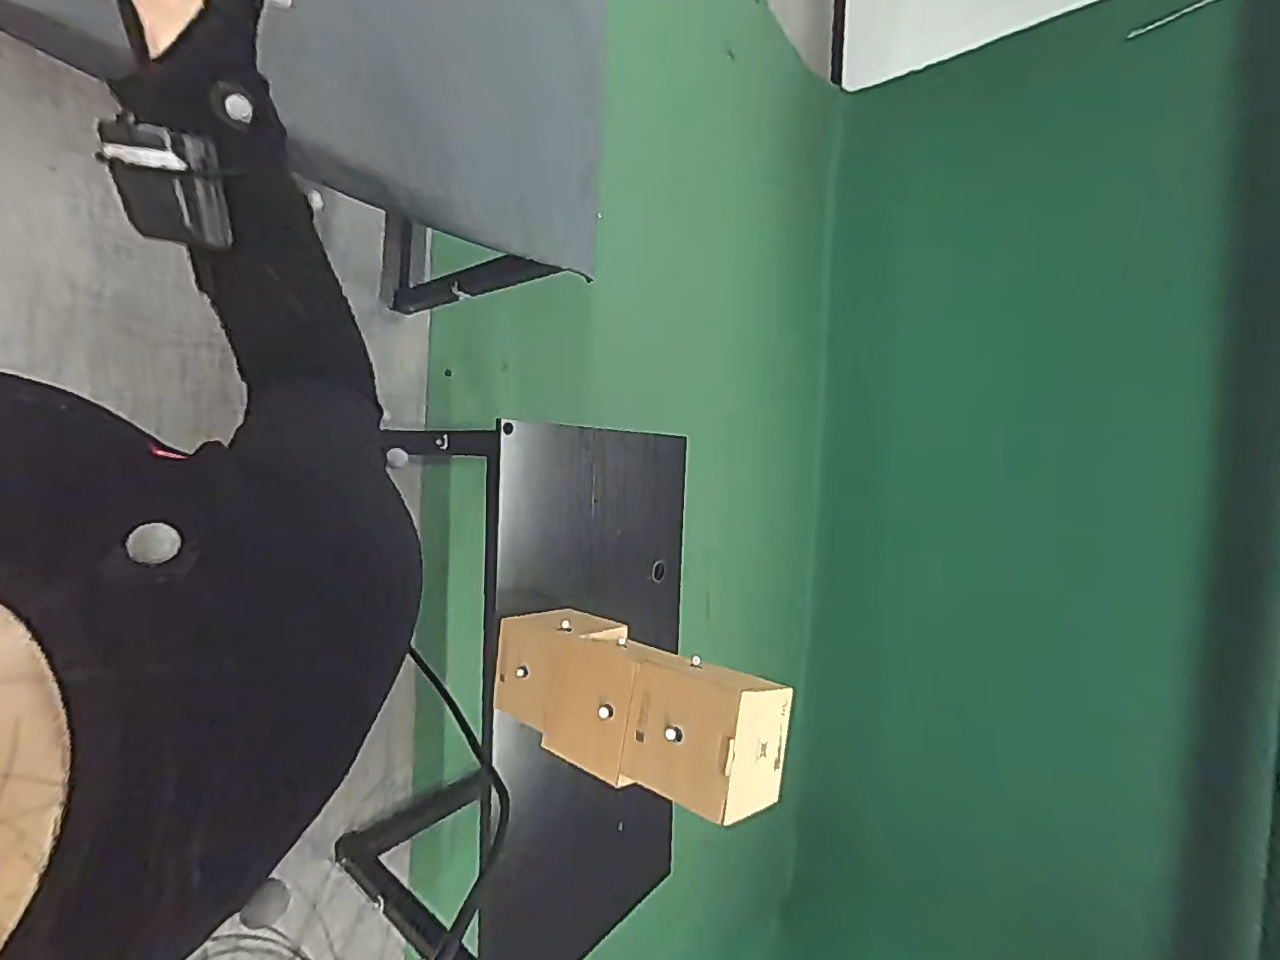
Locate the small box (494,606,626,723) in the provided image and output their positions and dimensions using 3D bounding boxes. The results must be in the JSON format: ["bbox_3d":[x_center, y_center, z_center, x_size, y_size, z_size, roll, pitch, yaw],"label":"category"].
[{"bbox_3d":[-0.151,0.339,1.008,0.179,0.176,0.168,7,89,-51],"label":"small box"}]

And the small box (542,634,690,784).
[{"bbox_3d":[-0.039,0.363,0.890,0.168,0.176,0.179,19,79,-50],"label":"small box"}]

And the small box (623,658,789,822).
[{"bbox_3d":[0.098,0.368,0.799,0.179,0.176,0.168,23,75,-48],"label":"small box"}]
